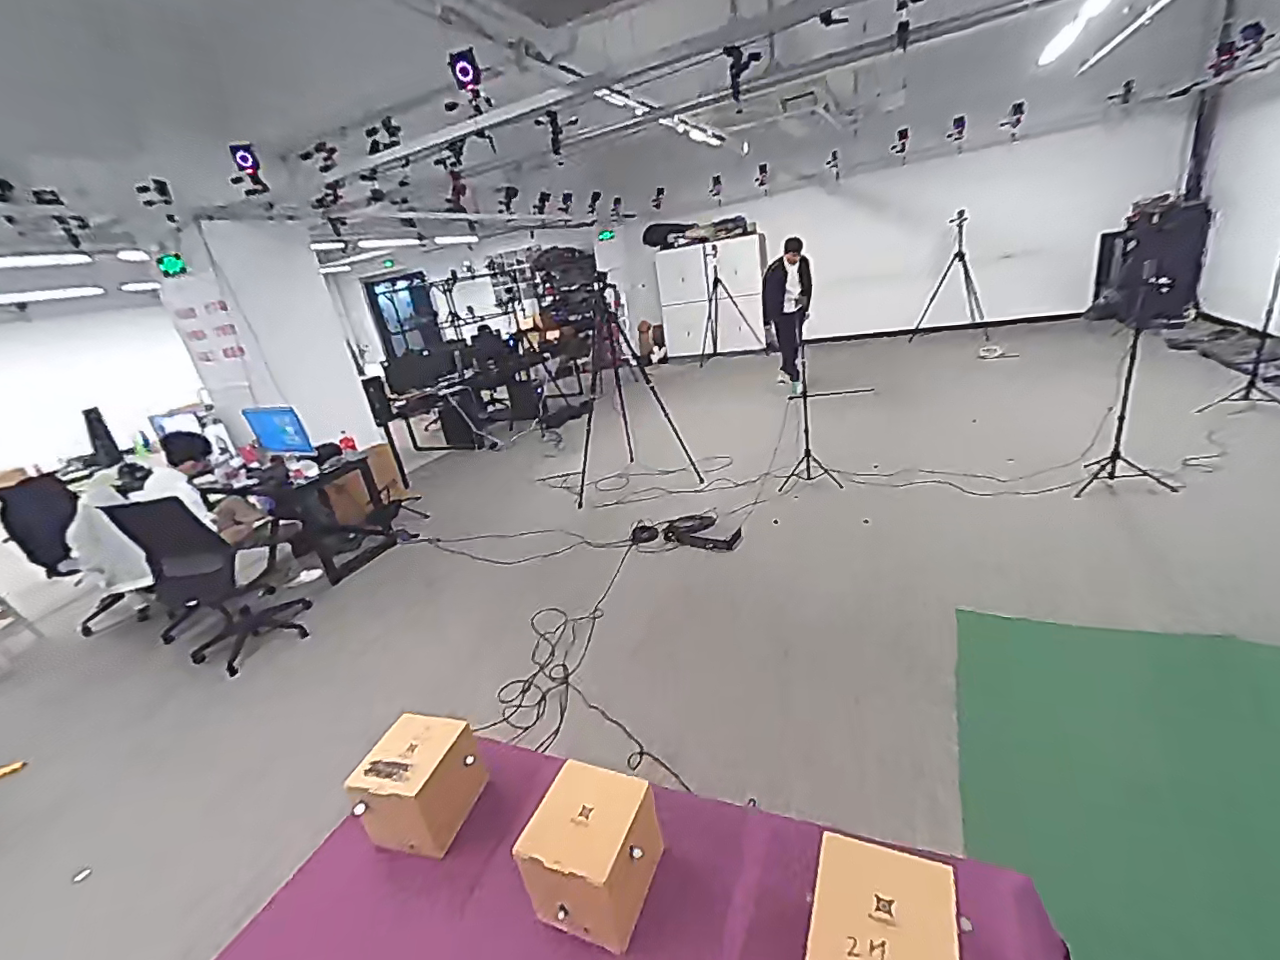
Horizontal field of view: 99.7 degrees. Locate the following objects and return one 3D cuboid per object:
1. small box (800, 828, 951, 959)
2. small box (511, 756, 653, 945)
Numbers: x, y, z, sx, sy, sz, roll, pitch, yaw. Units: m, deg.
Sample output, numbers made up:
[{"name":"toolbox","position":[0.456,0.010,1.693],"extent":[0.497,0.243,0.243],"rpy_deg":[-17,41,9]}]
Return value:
[{"name":"small box","position":[0.312,0.620,0.716],"extent":[0.168,0.176,0.179],"rpy_deg":[1,25,26]},{"name":"small box","position":[-0.085,0.611,0.906],"extent":[0.168,0.176,0.179],"rpy_deg":[2,26,25]}]
